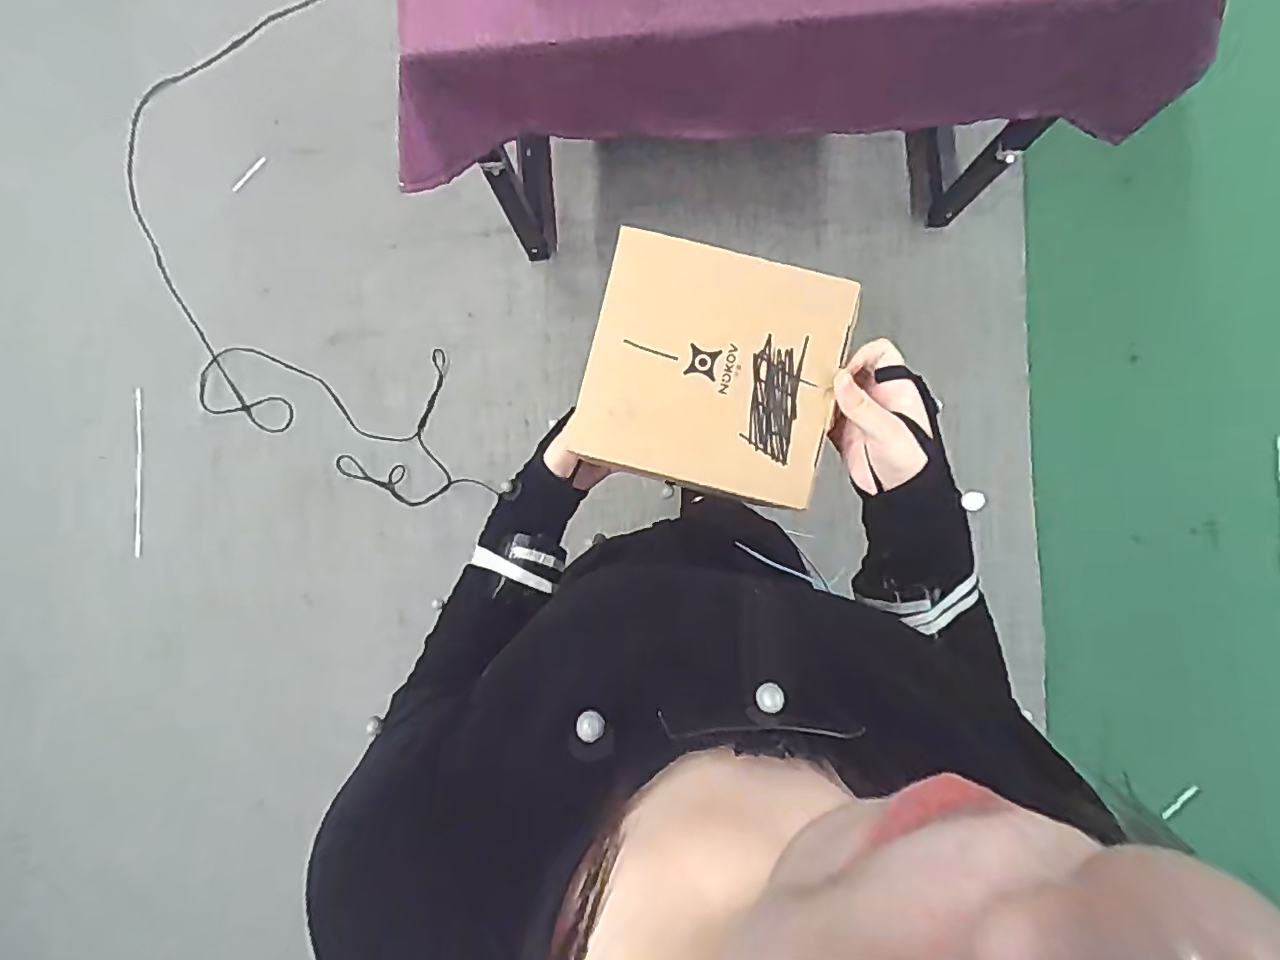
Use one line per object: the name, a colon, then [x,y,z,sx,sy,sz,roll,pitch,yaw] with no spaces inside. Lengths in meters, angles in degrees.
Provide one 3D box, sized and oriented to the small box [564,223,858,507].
small box: [0.050,-0.081,0.458,0.179,0.176,0.168,15,89,0]
